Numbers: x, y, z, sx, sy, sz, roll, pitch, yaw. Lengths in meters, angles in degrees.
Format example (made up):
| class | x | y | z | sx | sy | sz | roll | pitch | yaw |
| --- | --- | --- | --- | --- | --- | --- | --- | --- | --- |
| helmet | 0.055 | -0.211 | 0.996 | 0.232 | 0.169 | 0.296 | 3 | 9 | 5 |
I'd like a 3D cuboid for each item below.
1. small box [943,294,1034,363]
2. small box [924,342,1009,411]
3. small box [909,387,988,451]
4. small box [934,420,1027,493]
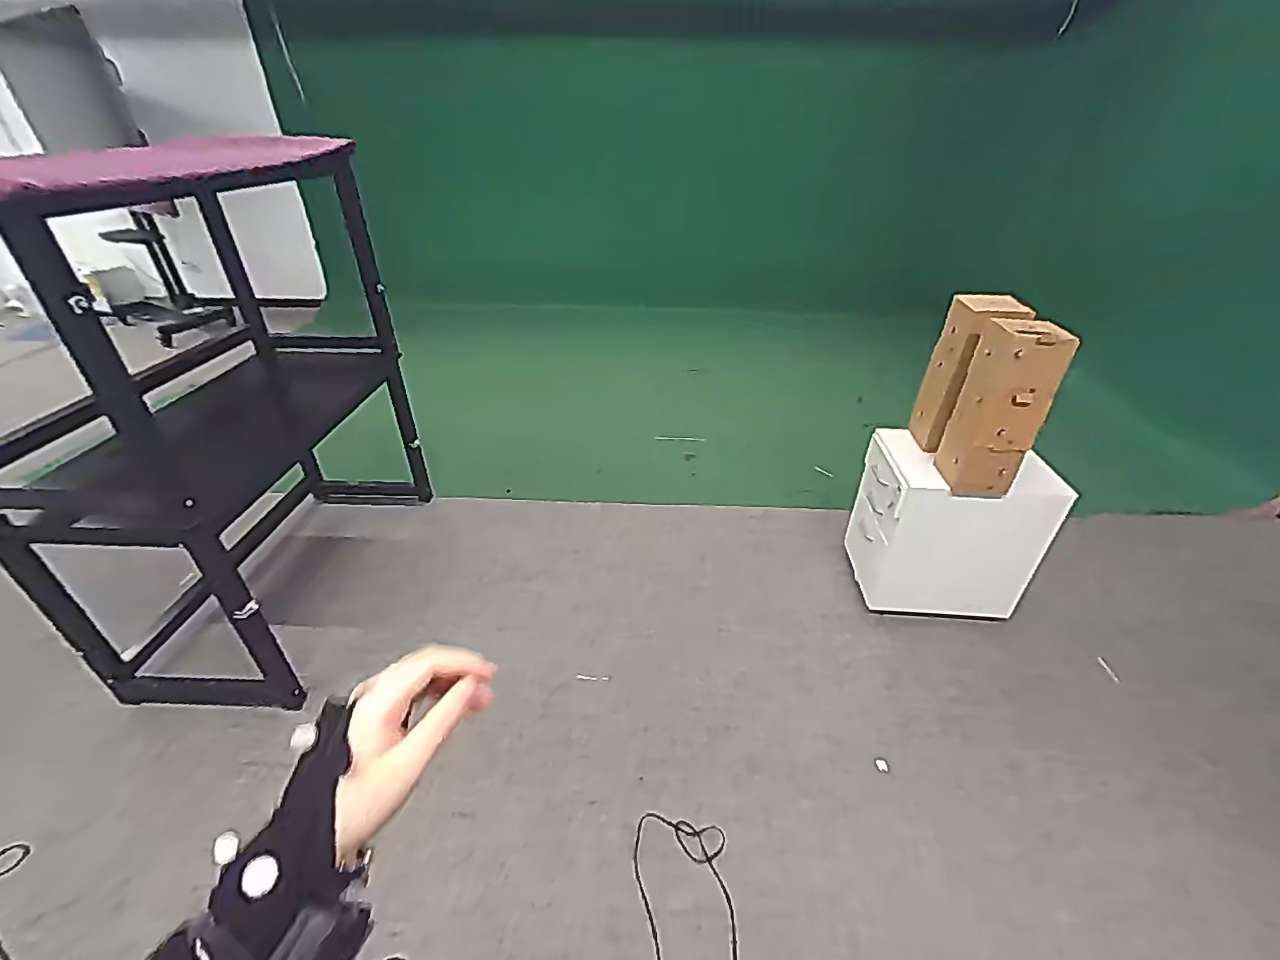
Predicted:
| class | x | y | z | sx | sy | sz | roll | pitch | yaw |
| --- | --- | --- | --- | --- | --- | --- | --- | --- | --- |
| small box | 1.085 | -0.480 | 1.708 | 0.179 | 0.176 | 0.168 | 3 | 36 | 3 |
| small box | 1.080 | -0.348 | 1.807 | 0.168 | 0.176 | 0.179 | 3 | 36 | 4 |
| small box | 1.074 | -0.212 | 1.899 | 0.168 | 0.176 | 0.179 | 3 | 35 | 4 |
| small box | 1.057 | -0.074 | 1.696 | 0.168 | 0.176 | 0.179 | 4 | 32 | 2 |
